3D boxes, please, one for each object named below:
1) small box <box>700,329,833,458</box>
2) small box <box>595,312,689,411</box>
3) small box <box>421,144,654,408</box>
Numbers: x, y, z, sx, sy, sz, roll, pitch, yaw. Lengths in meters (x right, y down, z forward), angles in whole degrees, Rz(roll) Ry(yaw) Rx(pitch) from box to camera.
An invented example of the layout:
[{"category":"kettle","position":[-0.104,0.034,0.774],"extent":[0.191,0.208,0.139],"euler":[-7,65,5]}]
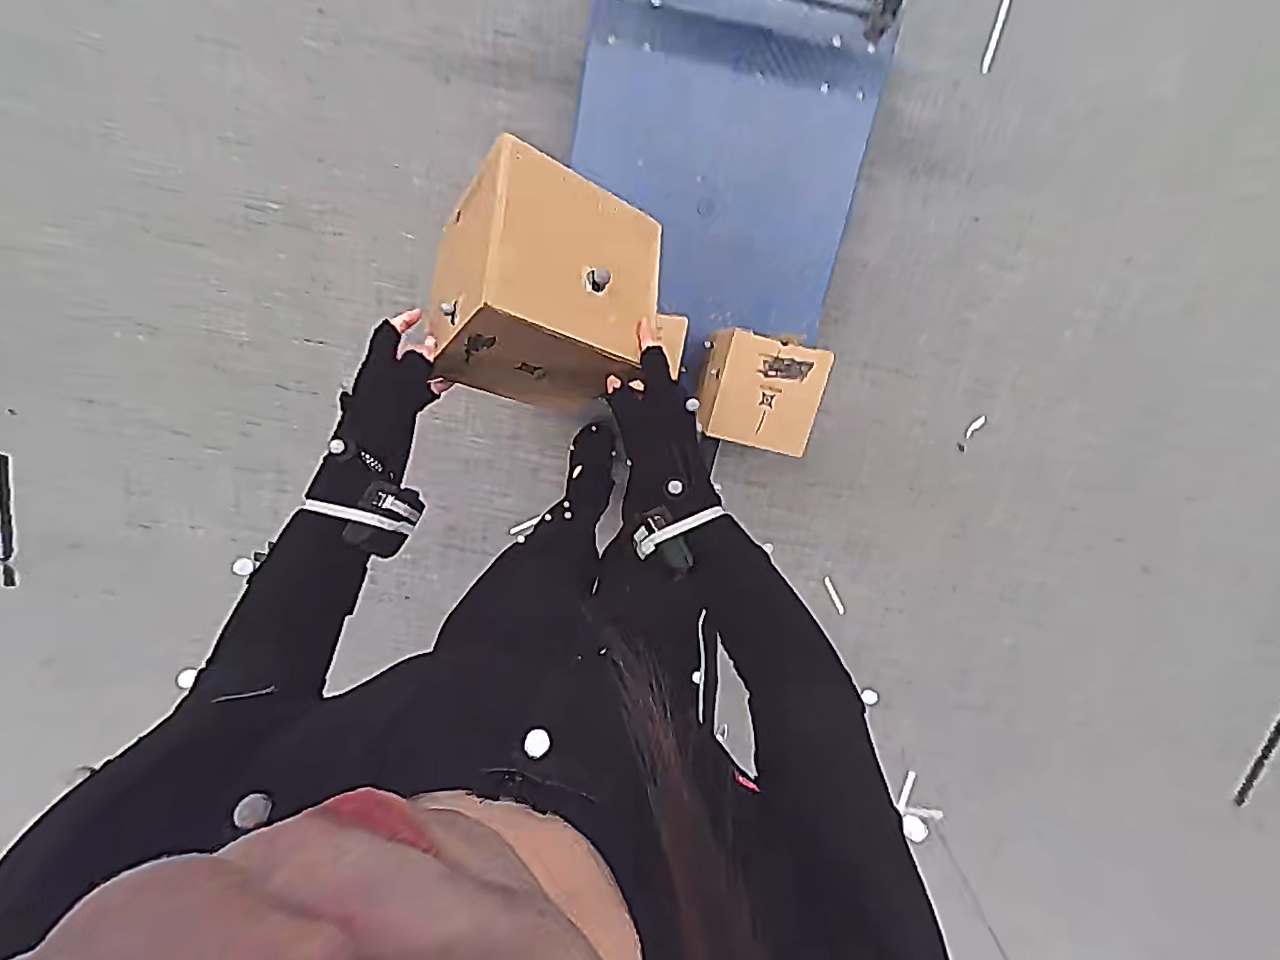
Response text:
[{"category":"small box","position":[0.208,-0.156,0.948],"extent":[0.168,0.176,0.179],"euler":[14,104,-3]},{"category":"small box","position":[-0.003,-0.249,1.098],"extent":[0.168,0.176,0.179],"euler":[10,103,-3]},{"category":"small box","position":[-0.100,-0.186,0.541],"extent":[0.179,0.168,0.176],"euler":[9,75,-36]}]
